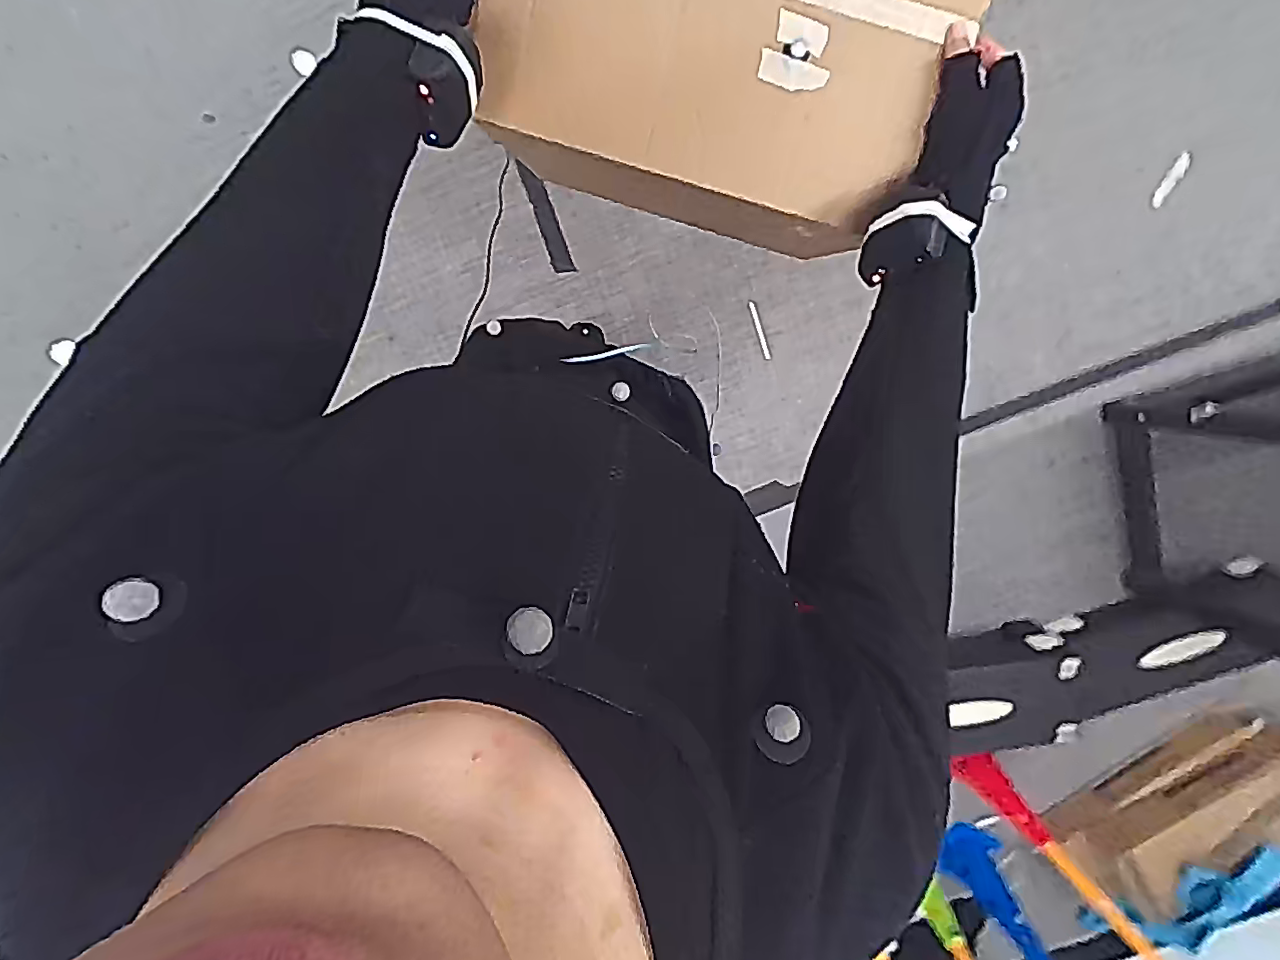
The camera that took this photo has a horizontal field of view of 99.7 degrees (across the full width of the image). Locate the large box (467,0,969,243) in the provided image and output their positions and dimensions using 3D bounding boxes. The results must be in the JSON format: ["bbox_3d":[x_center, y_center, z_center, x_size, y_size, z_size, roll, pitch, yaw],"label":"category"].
[{"bbox_3d":[0.076,-0.473,0.577,0.408,0.320,0.320,15,111,-3],"label":"large box"}]
